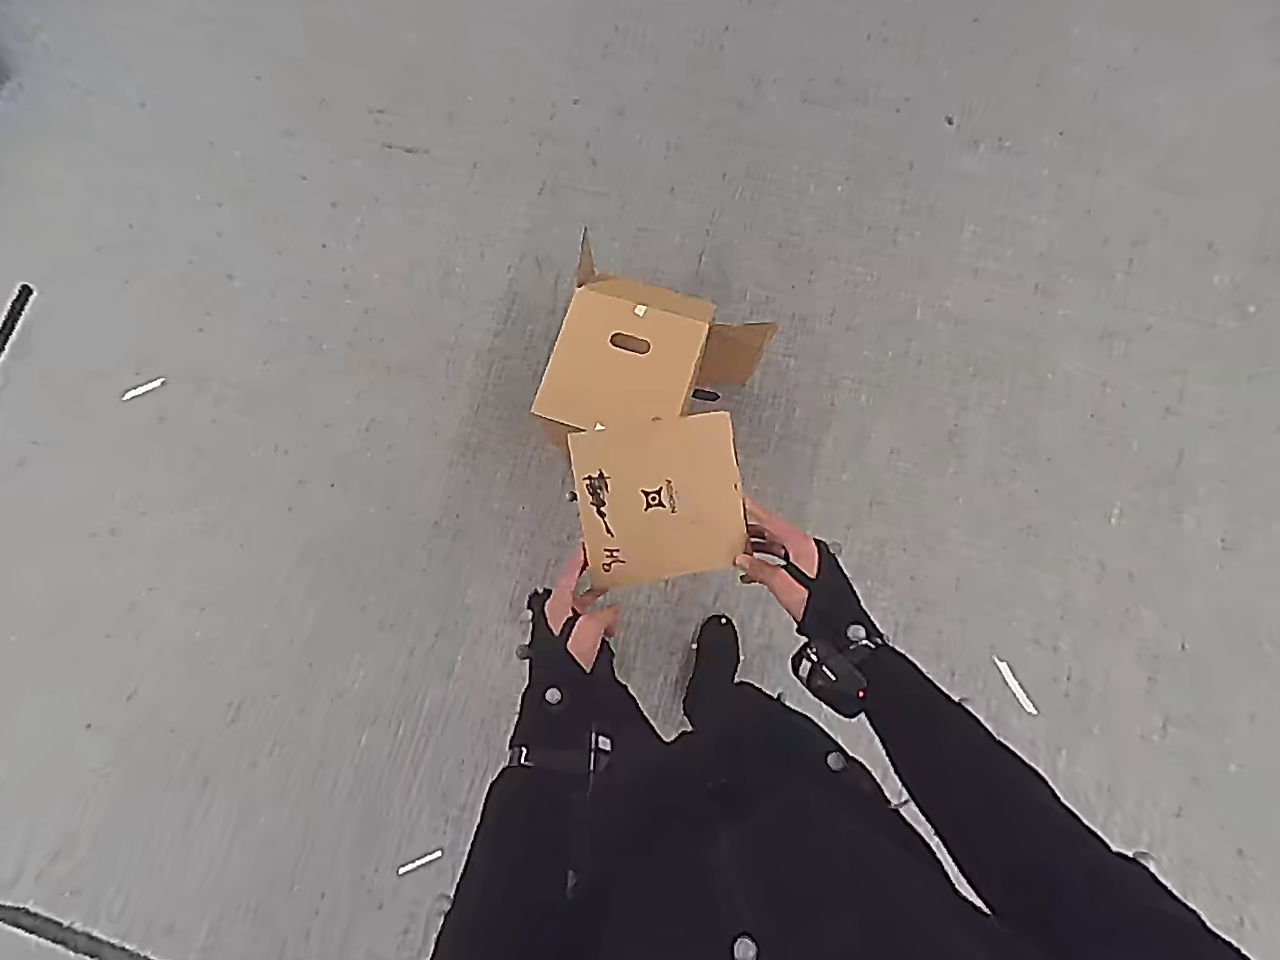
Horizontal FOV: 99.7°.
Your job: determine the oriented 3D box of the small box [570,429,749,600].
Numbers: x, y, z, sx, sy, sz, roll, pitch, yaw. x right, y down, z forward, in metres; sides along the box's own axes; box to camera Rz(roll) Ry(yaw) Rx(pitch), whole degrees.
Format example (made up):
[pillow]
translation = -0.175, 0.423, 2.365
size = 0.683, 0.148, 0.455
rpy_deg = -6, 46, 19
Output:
[small box]
translation = 0.015, 0.037, 0.655
size = 0.179, 0.176, 0.168
rpy_deg = -9, 88, -4
